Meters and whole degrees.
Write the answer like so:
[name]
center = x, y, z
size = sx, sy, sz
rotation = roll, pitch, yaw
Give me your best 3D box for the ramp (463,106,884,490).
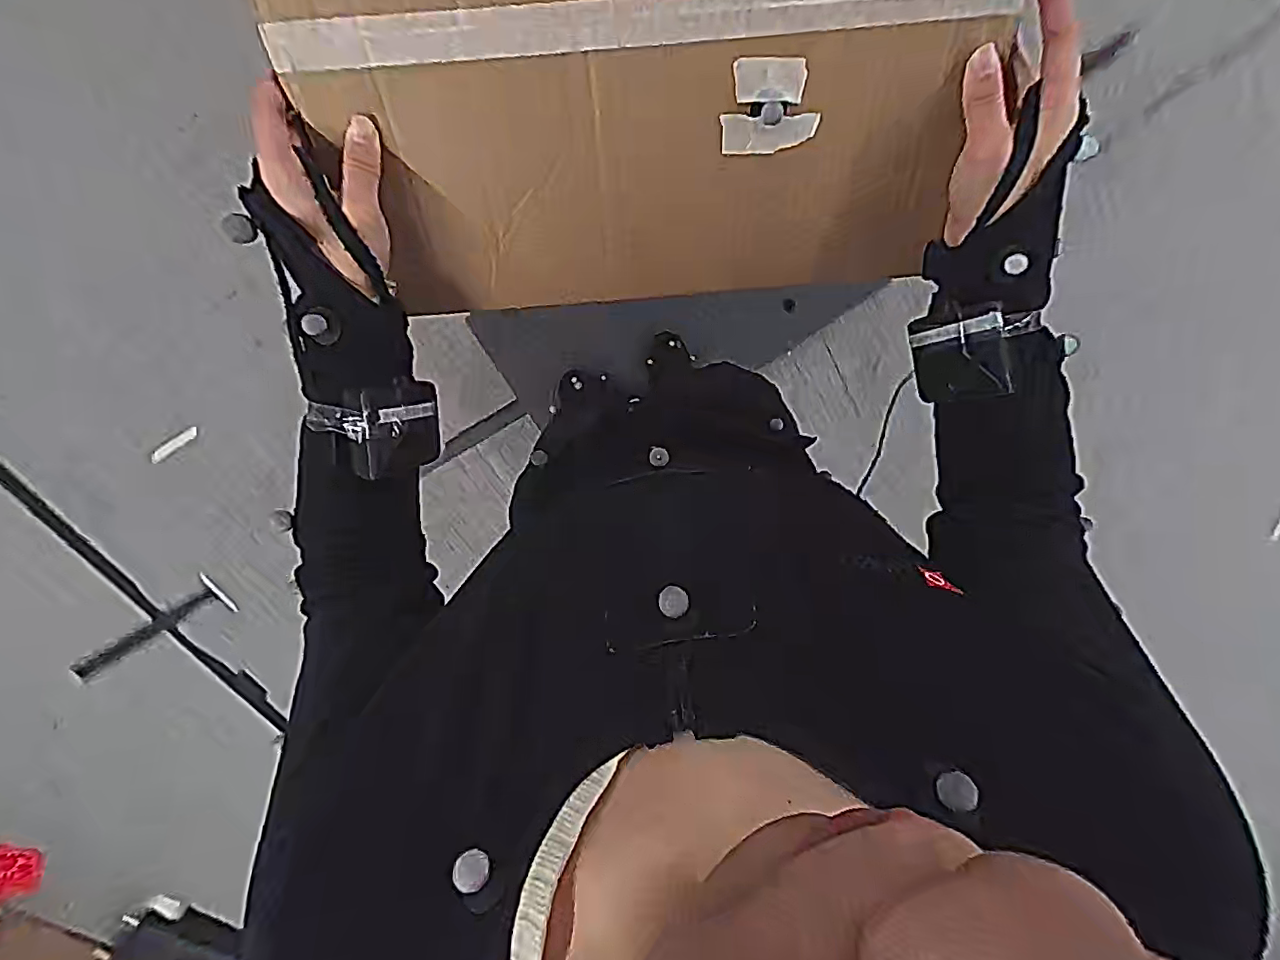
[ramp]
center = 0.123, -0.443, 1.340
size = 0.991, 0.206, 0.509
rotation = -33, 106, 5
